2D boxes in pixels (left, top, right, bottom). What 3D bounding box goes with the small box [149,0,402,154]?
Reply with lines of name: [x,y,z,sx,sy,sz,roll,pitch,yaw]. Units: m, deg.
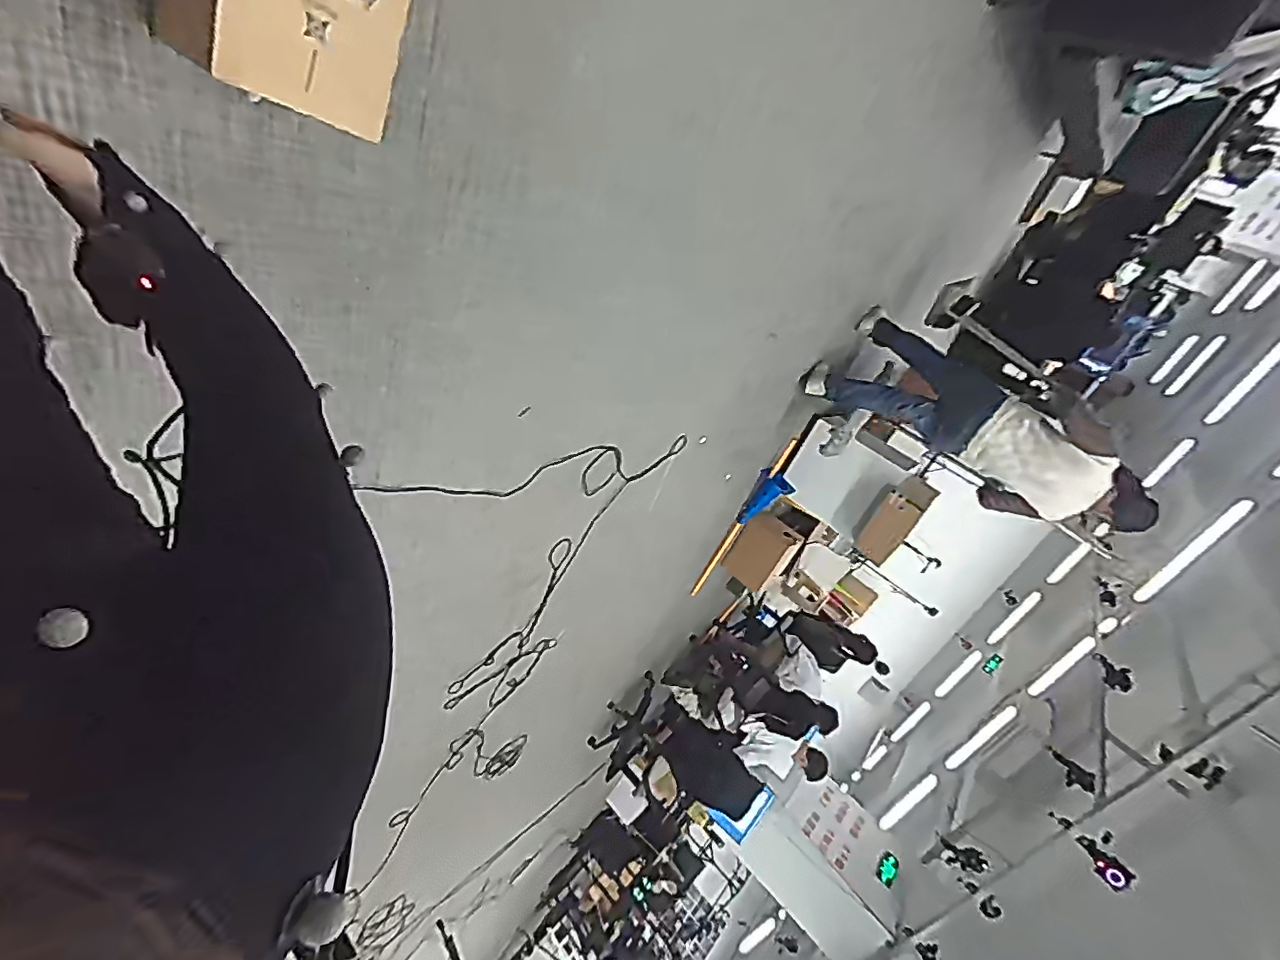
small box: [-0.389,-0.495,0.576,0.168,0.176,0.179,-11,134,-55]
